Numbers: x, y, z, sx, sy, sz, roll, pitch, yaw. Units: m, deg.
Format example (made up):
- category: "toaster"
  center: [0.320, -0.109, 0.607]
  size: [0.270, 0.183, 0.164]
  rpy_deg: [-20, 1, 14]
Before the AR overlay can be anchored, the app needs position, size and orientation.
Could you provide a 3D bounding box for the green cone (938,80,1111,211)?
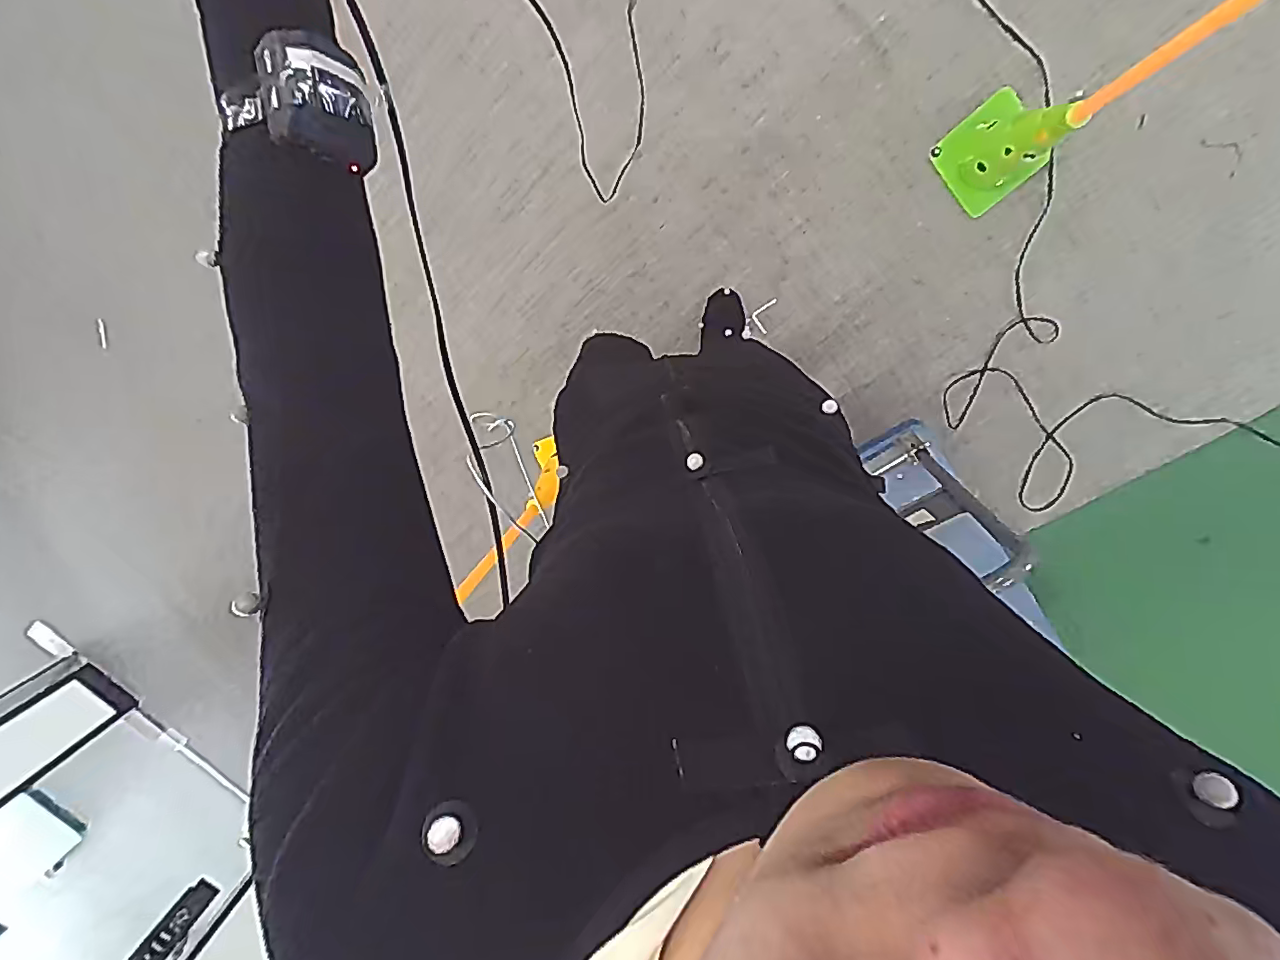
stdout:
- category: "green cone"
  center: [0.792, -0.695, 1.074]
  size: [0.202, 0.368, 0.200]
  rpy_deg: [-40, 101, 20]
